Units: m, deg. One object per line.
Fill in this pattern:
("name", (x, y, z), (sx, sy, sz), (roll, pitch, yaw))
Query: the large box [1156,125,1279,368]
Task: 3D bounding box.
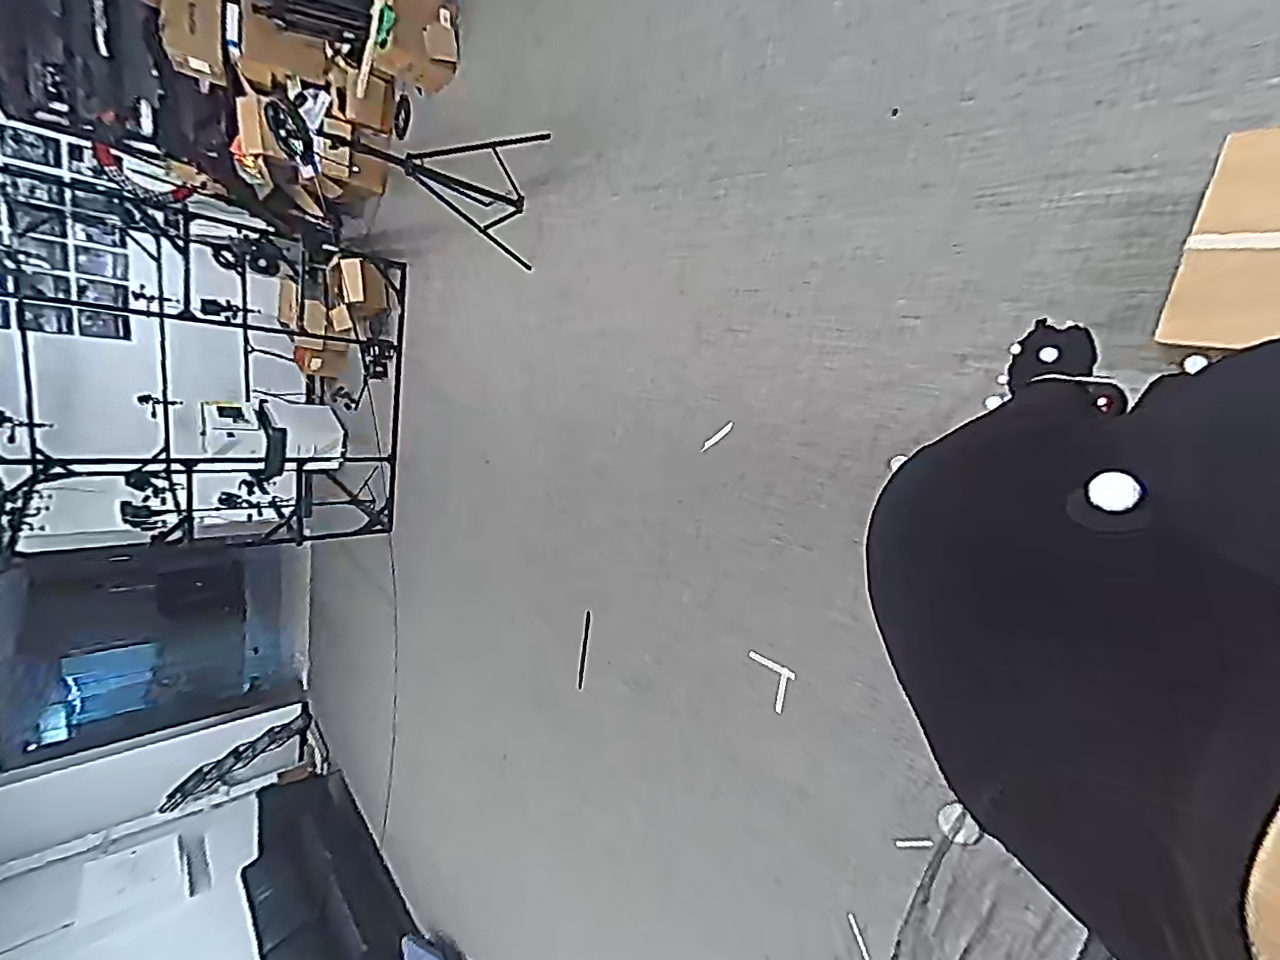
("large box", (1.105, -0.336, 0.824), (0.408, 0.320, 0.320), (22, 108, 43))
